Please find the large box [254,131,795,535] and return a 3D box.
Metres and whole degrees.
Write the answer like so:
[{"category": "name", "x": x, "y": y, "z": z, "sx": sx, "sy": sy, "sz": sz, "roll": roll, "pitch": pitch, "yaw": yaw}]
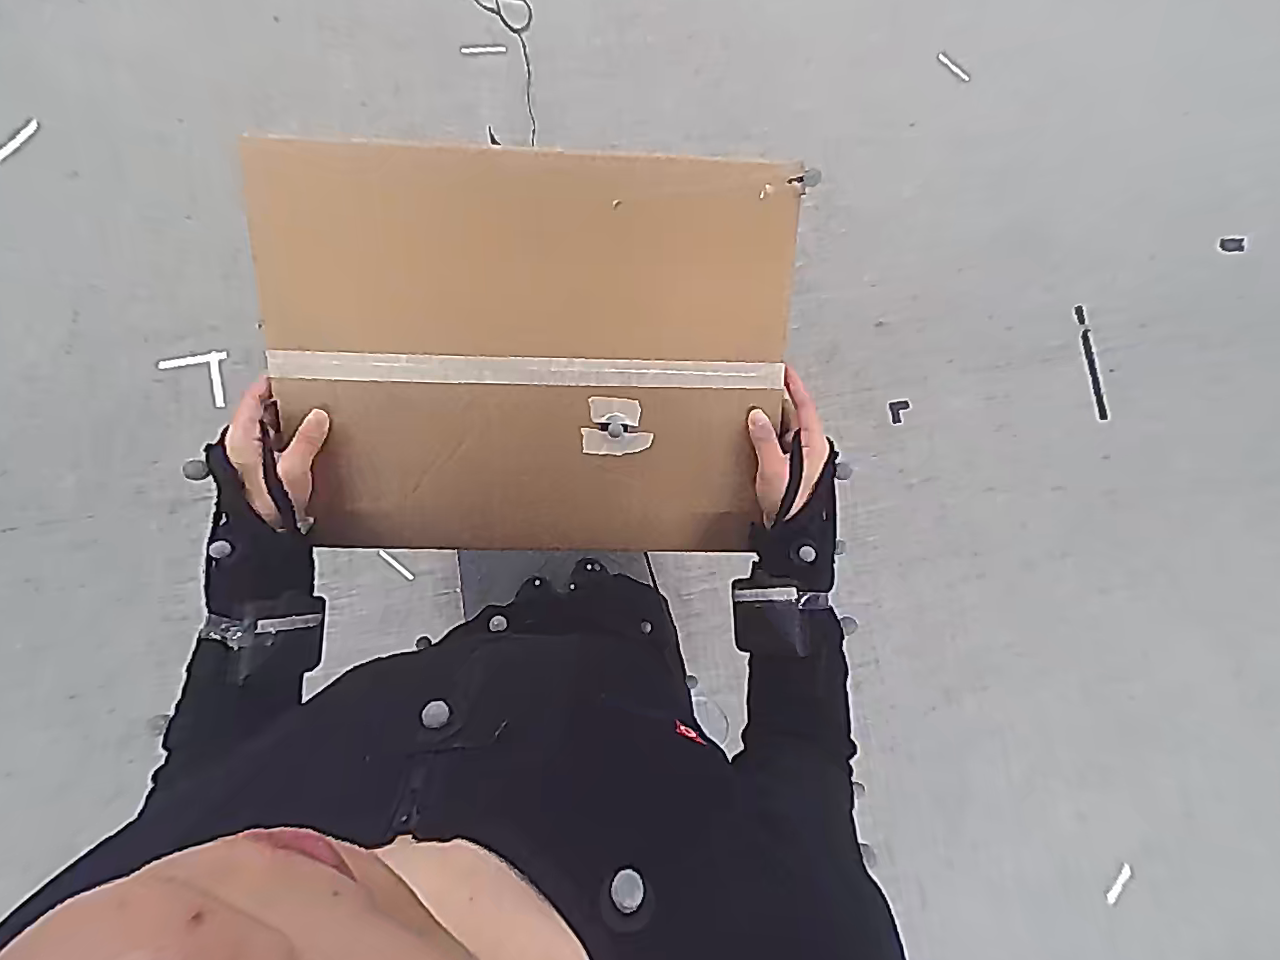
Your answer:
[{"category": "large box", "x": -0.093, "y": -0.140, "z": 0.580, "sx": 0.408, "sy": 0.320, "sz": 0.320, "roll": 1, "pitch": 107, "yaw": -4}]
